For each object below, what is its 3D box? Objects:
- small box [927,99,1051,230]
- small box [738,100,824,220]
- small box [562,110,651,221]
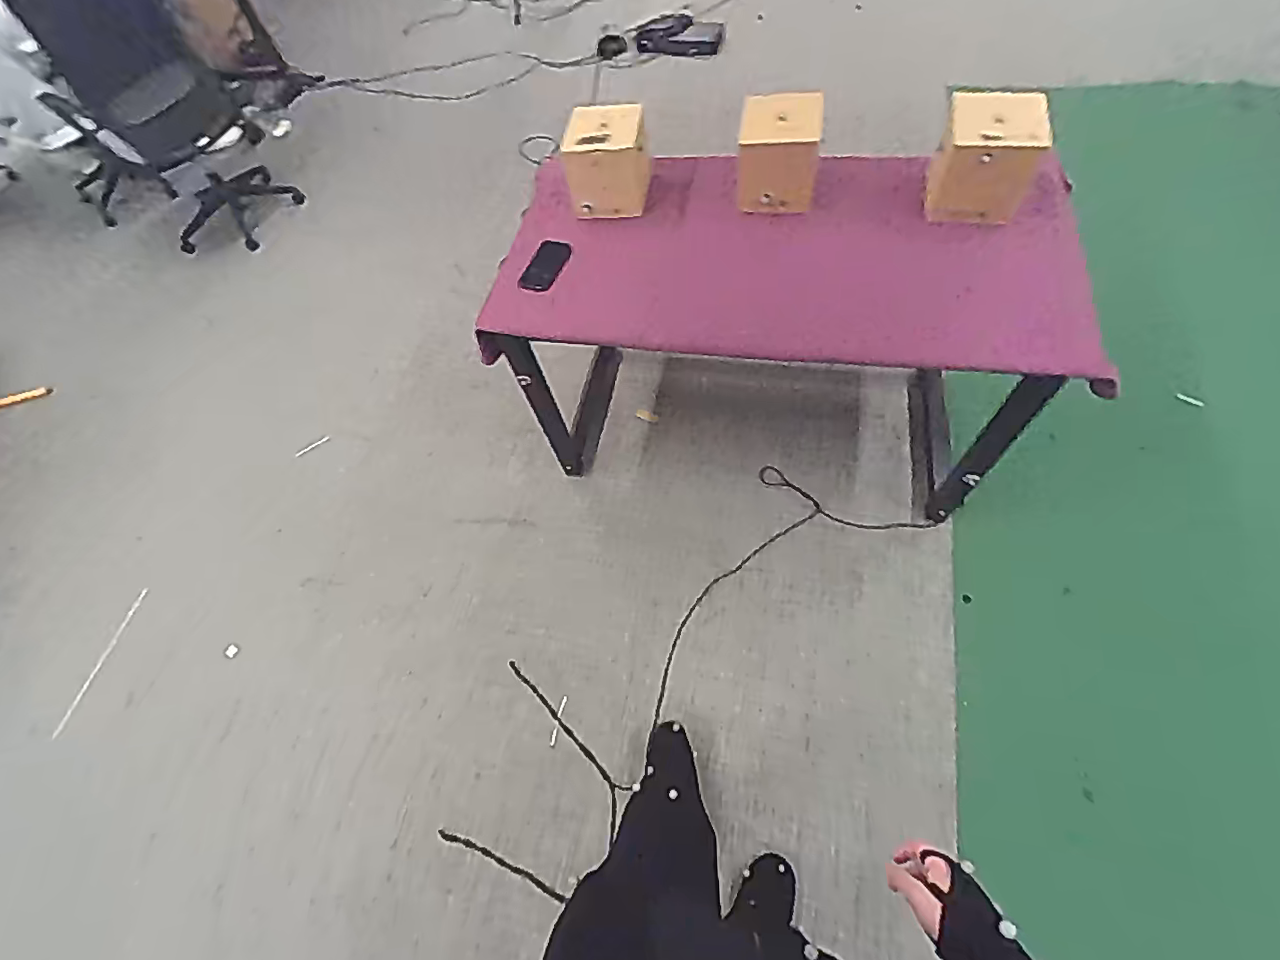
[{"bbox_3d":[0.704,-0.646,1.110,0.168,0.176,0.179,9,63,15],"label":"small box"},{"bbox_3d":[0.311,-0.714,1.211,0.168,0.176,0.179,6,63,13],"label":"small box"},{"bbox_3d":[-0.071,-0.736,1.281,0.168,0.176,0.179,4,61,10],"label":"small box"}]
